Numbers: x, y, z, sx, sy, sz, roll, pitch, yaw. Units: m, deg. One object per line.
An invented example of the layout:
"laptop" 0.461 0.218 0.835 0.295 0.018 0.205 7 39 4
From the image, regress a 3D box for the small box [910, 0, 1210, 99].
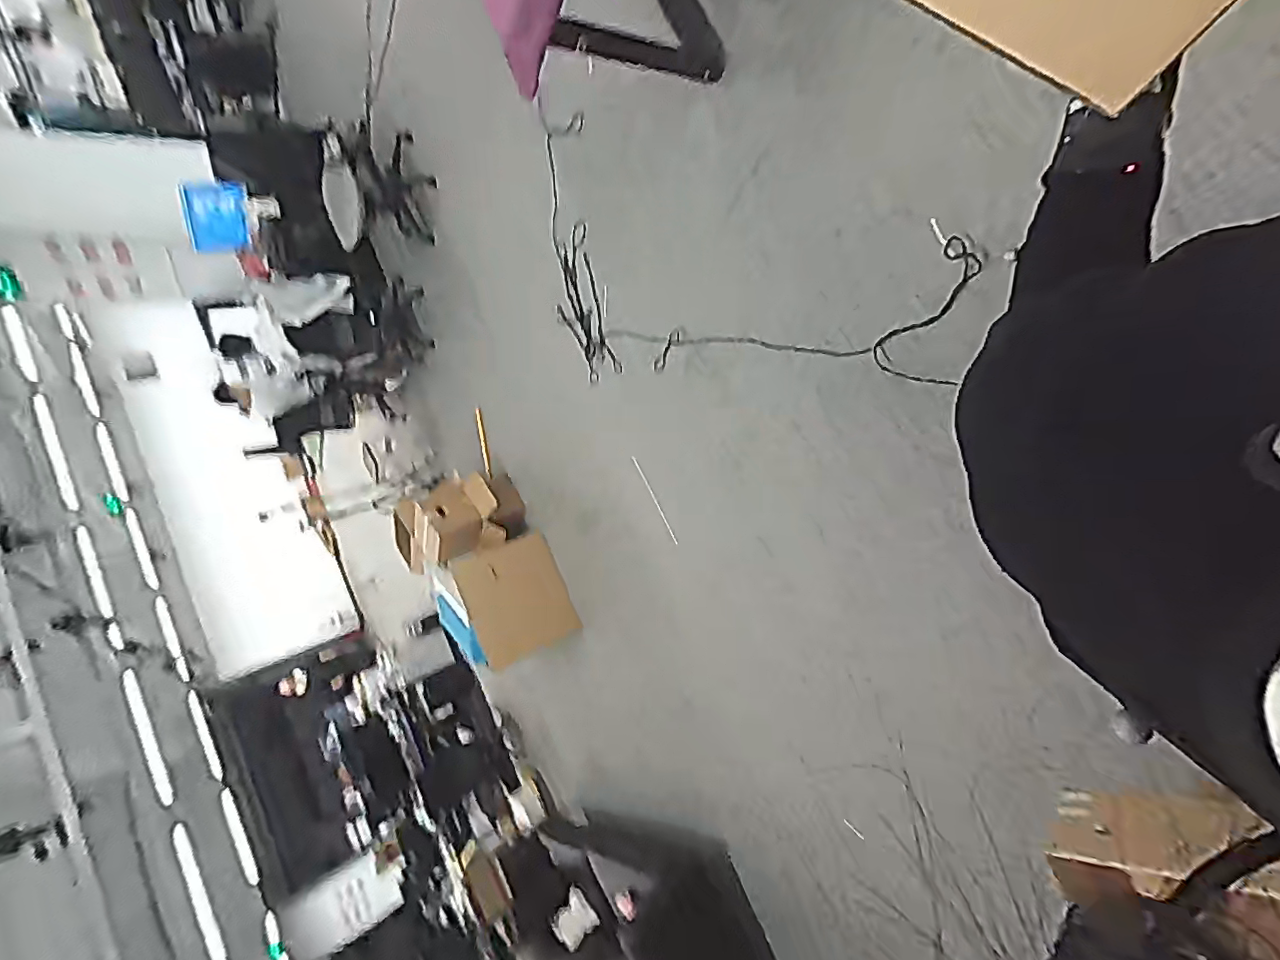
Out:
"small box" 0.239 -0.341 0.246 0.179 0.168 0.176 34 168 7

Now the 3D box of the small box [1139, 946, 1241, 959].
"small box" 0.831 0.807 0.754 0.168 0.176 0.179 59 140 12
